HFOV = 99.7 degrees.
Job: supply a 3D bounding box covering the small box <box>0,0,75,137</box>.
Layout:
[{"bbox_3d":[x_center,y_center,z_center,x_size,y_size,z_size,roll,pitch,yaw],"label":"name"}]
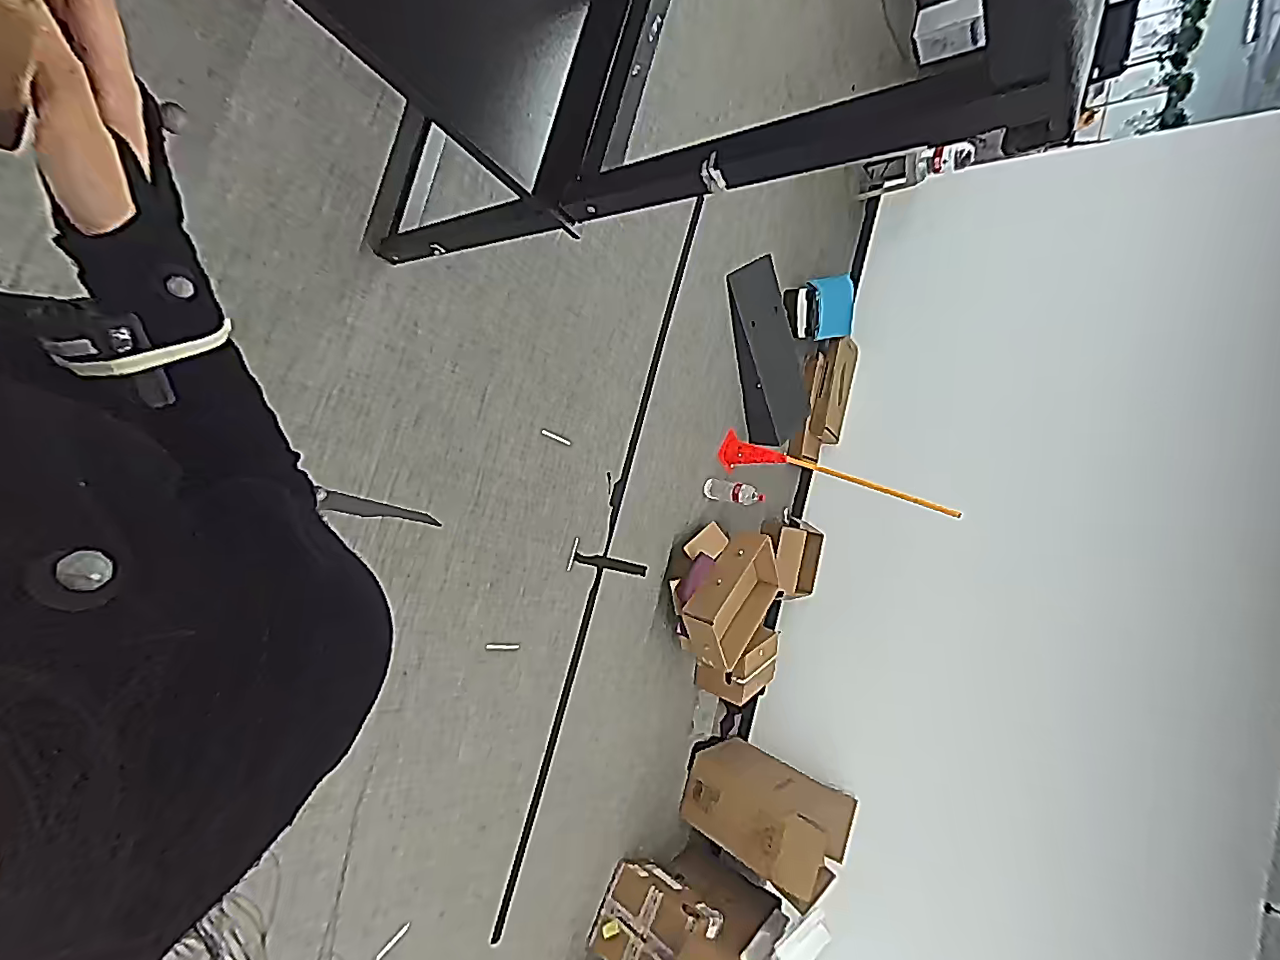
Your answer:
[{"bbox_3d":[-0.300,-0.241,0.163,0.168,0.176,0.179,-6,102,-51],"label":"small box"}]
